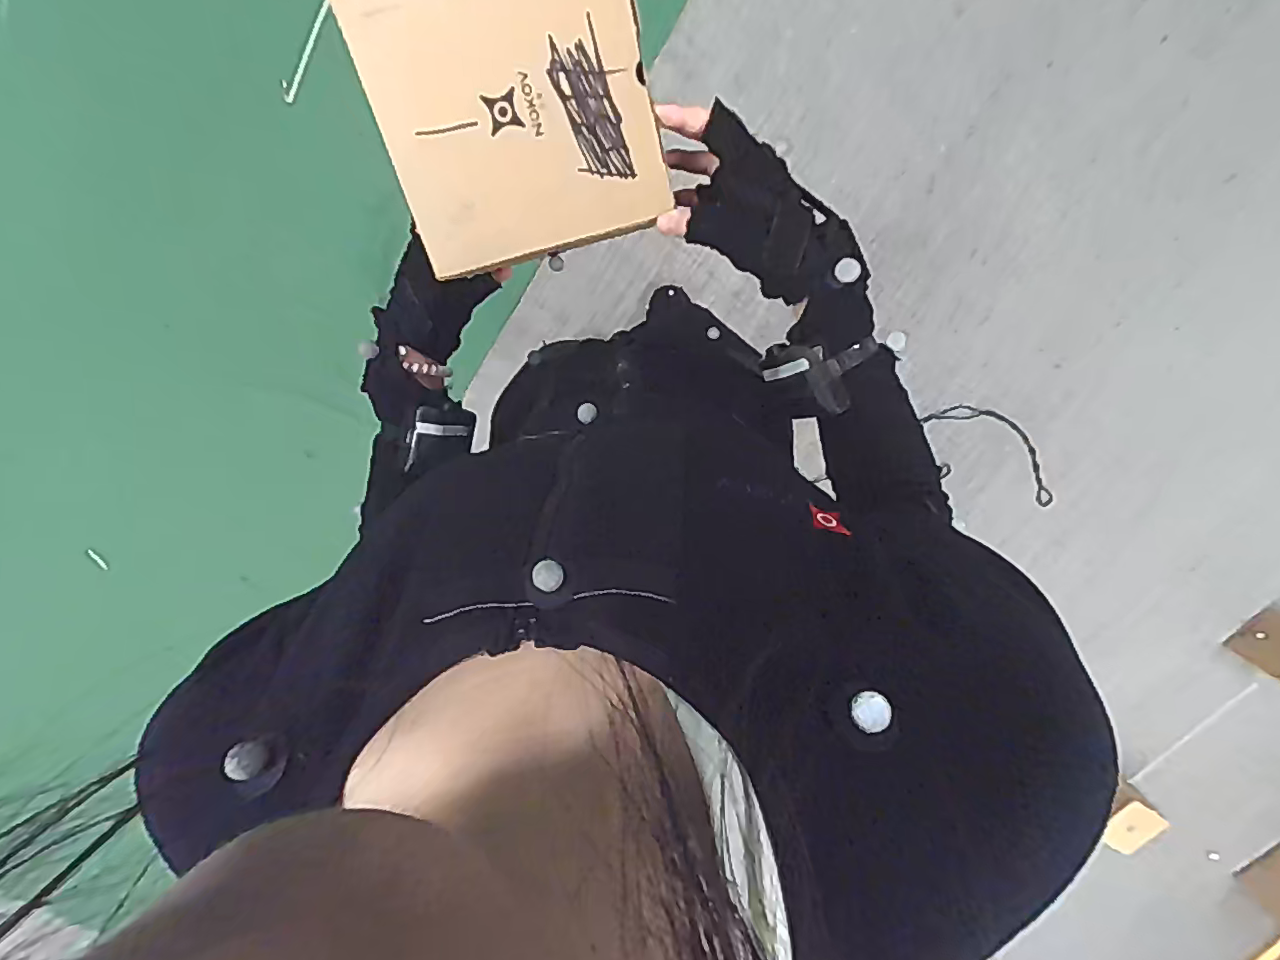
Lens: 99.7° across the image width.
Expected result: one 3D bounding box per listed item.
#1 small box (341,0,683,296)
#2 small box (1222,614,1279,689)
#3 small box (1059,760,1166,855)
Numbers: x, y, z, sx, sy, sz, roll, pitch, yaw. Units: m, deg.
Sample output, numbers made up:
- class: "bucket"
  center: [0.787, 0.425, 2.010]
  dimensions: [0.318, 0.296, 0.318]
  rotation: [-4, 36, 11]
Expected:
- class: "small box"
  center: [-0.079, -0.251, 0.414]
  dimensions: [0.179, 0.176, 0.168]
  rotation: [-15, 113, 2]
- class: "small box"
  center: [1.894, 0.522, 1.576]
  dimensions: [0.179, 0.176, 0.168]
  rotation: [32, 107, -9]
- class: "small box"
  center: [1.536, 1.071, 1.776]
  dimensions: [0.168, 0.176, 0.179]
  rotation: [32, 107, -9]
